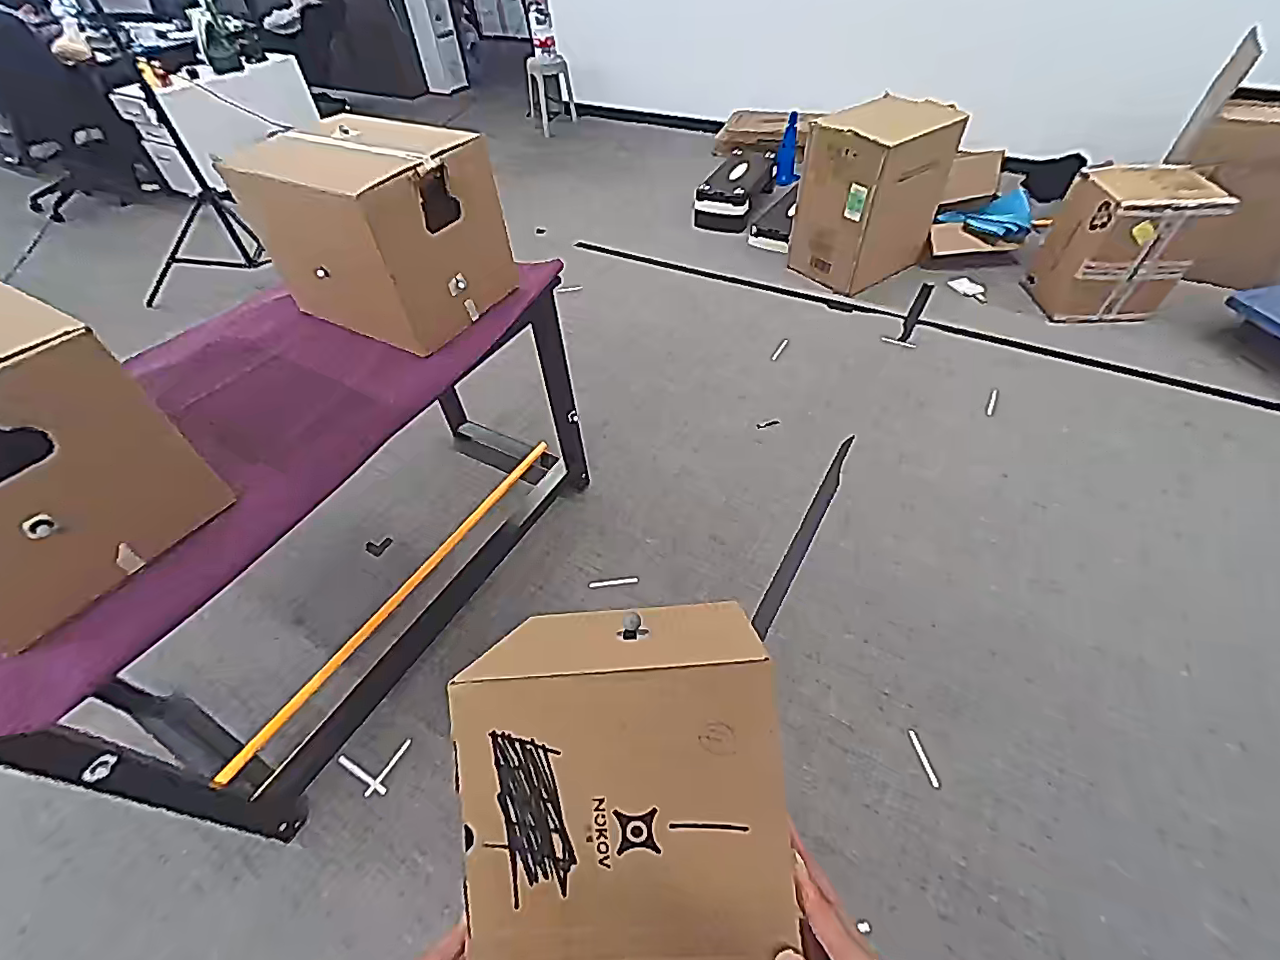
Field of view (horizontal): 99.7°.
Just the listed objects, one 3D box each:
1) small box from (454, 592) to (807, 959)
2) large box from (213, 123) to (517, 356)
[{"bbox_3d":[-0.003,0.174,0.360,0.179,0.176,0.168,-6,87,3],"label":"small box"},{"bbox_3d":[-0.530,-0.502,1.116,0.408,0.320,0.320,21,52,22],"label":"large box"}]
